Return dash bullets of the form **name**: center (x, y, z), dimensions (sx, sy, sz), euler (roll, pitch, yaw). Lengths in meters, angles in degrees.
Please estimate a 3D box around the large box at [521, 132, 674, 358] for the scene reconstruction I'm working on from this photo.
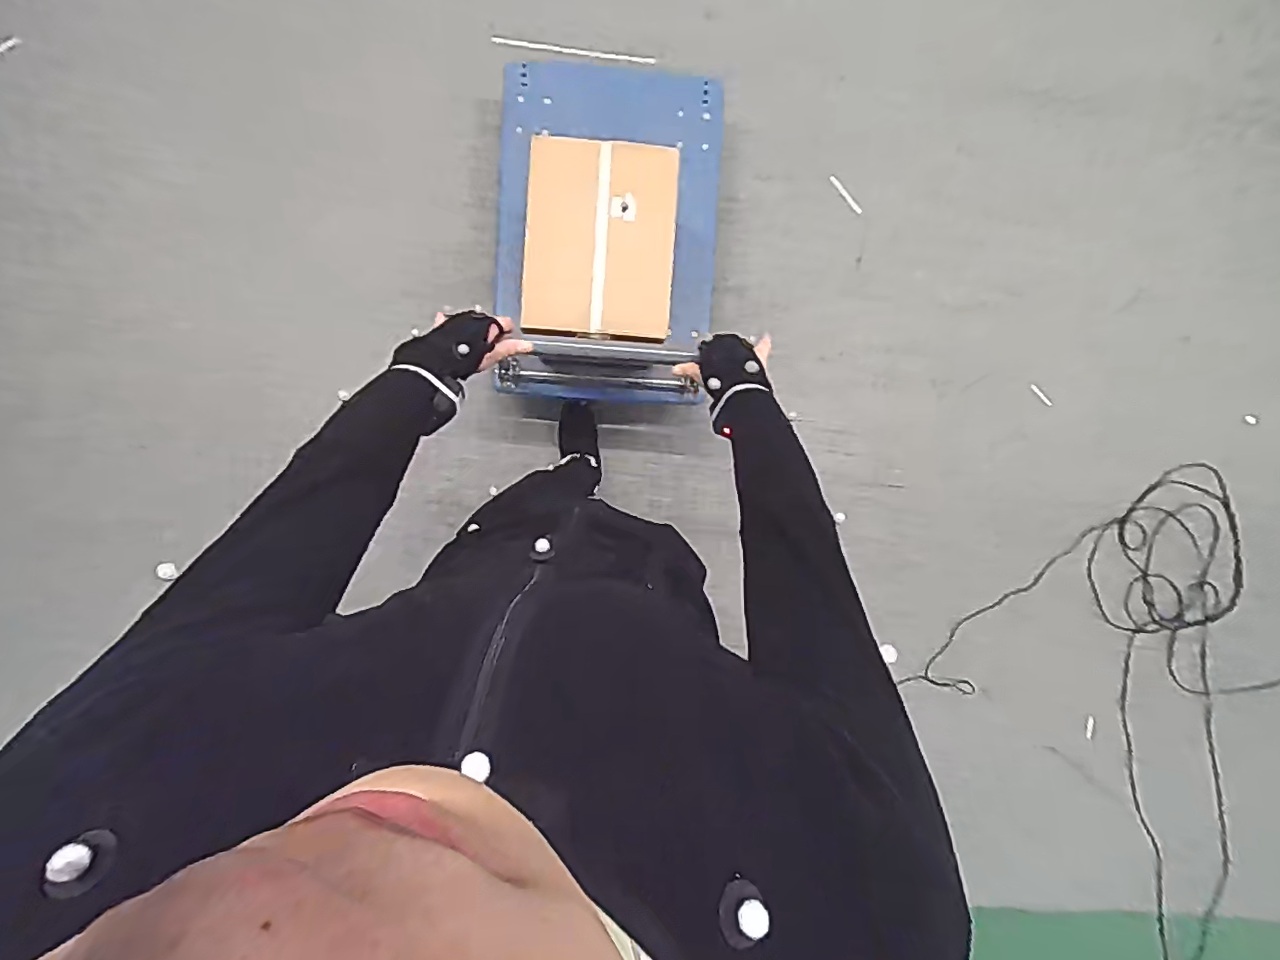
- **large box**: center (-0.097, -0.527, 1.292), dimensions (0.320, 0.320, 0.408), euler (3, 90, -4)
